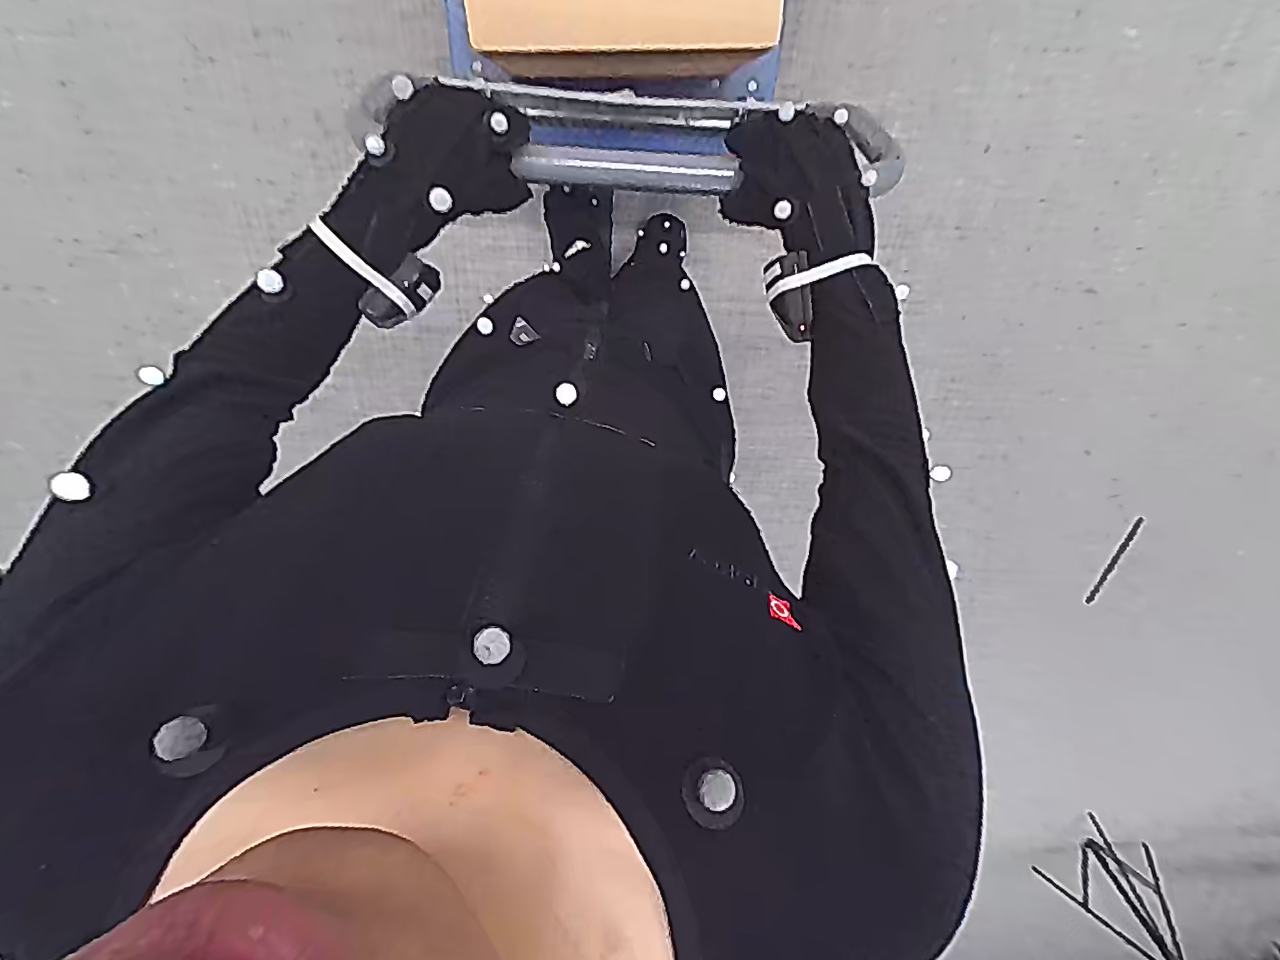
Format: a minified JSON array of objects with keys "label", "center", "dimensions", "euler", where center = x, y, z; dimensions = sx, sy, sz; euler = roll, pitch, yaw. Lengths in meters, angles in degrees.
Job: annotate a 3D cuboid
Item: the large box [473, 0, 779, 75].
[{"label":"large box","center":[-0.032,-0.789,0.765],"dimensions":[0.408,0.320,0.320],"euler":[-4,123,-3]}]
